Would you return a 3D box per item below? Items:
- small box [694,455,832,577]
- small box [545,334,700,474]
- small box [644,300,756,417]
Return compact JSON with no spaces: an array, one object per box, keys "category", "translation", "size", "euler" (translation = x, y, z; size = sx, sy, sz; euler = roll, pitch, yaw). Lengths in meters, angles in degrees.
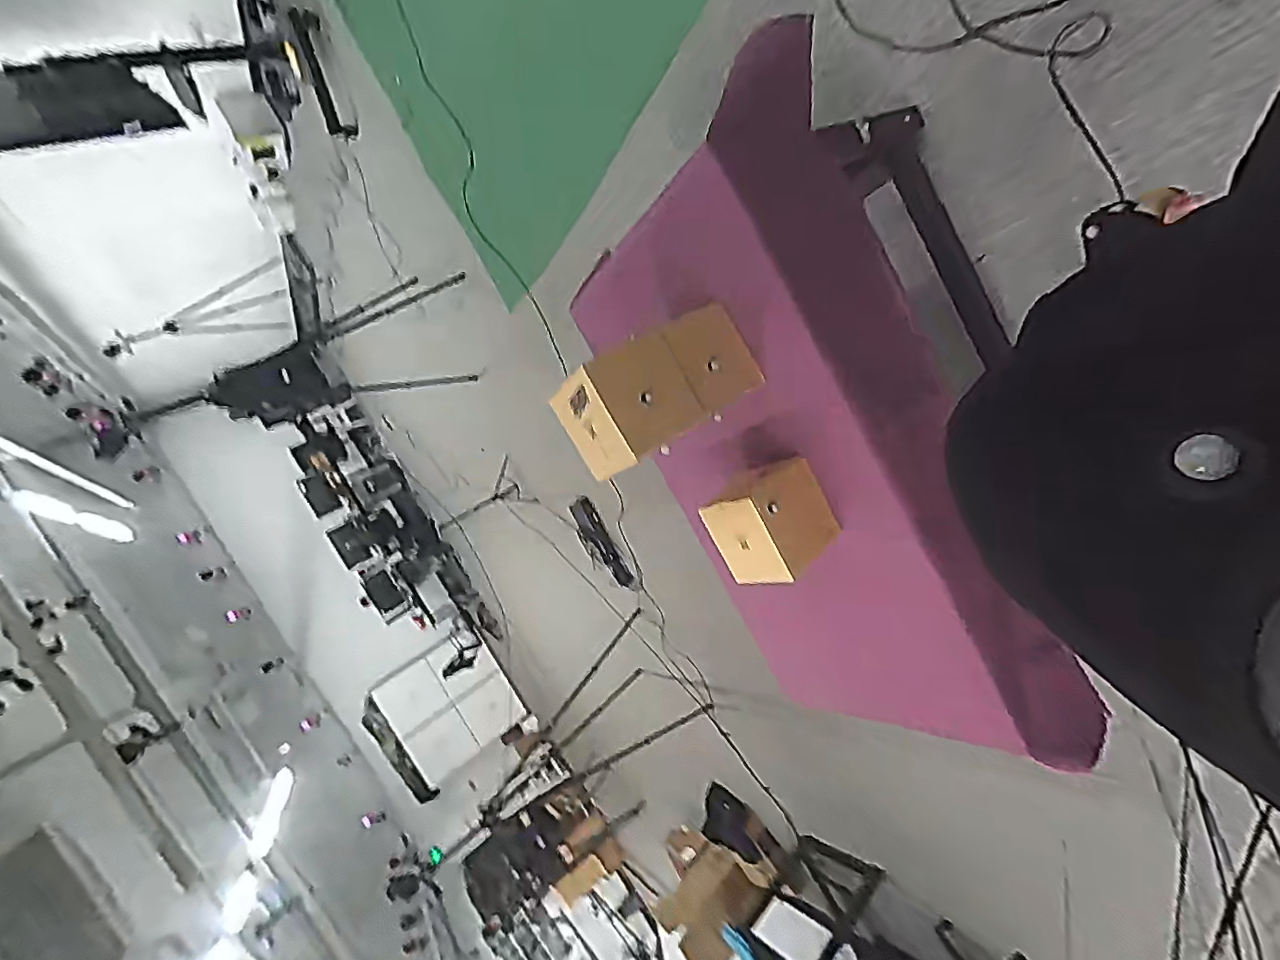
[{"category":"small box","translation":[0.245,0.073,1.067],"size":[0.168,0.176,0.179],"euler":[-19,100,59]},{"category":"small box","translation":[-0.031,-0.136,0.944],"size":[0.179,0.176,0.168],"euler":[60,150,-4]},{"category":"small box","translation":[0.087,-0.211,1.031],"size":[0.179,0.176,0.168],"euler":[59,149,-3]}]
